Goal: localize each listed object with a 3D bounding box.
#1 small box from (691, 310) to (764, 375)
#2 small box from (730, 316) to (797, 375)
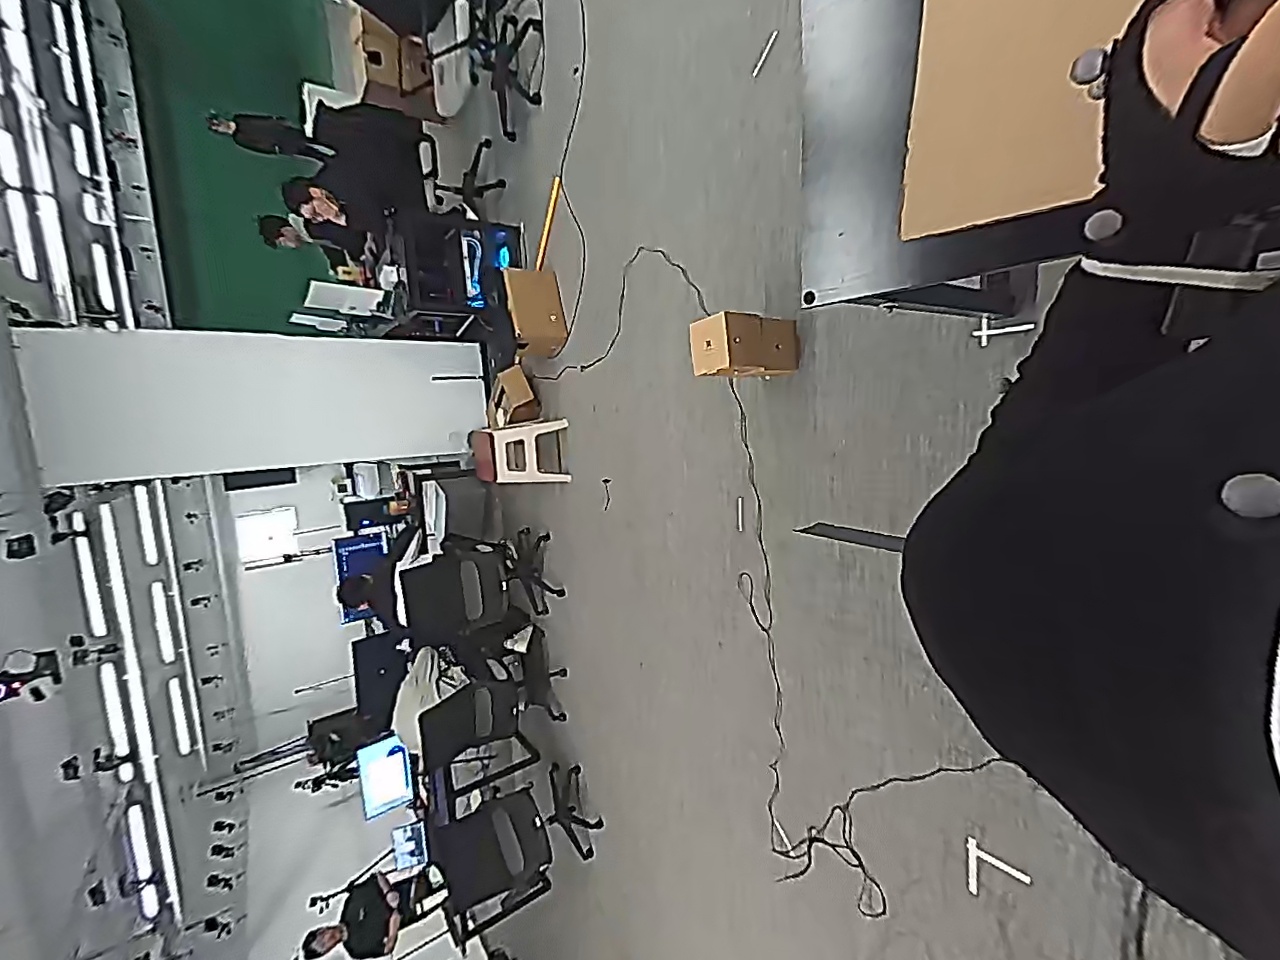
[{"bbox_3d":[0.288,-0.445,1.771,0.168,0.176,0.179,-3,93,54],"label":"small box"},{"bbox_3d":[0.422,-0.457,1.863,0.168,0.176,0.179,2,99,55],"label":"small box"}]
